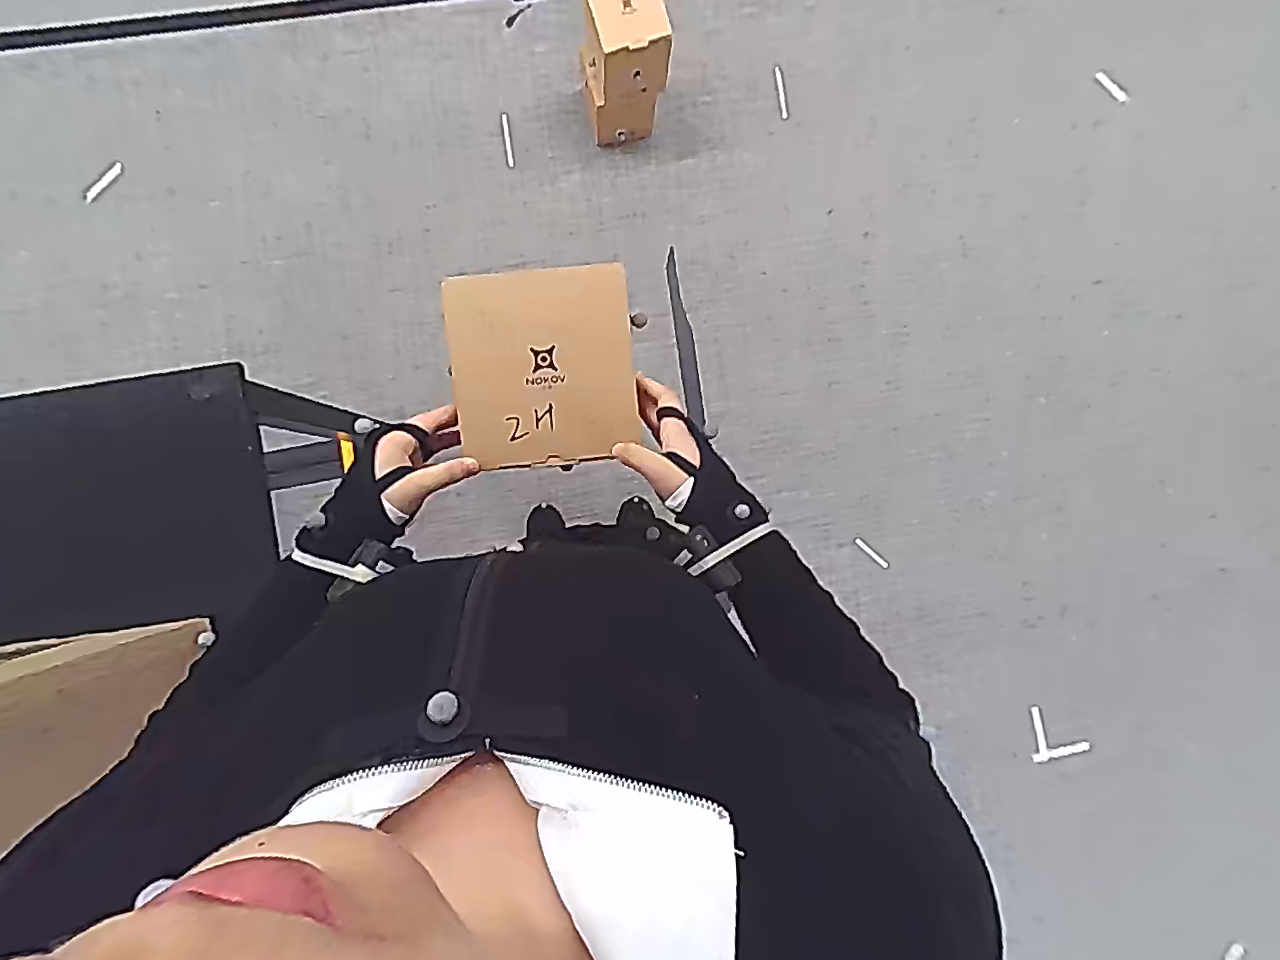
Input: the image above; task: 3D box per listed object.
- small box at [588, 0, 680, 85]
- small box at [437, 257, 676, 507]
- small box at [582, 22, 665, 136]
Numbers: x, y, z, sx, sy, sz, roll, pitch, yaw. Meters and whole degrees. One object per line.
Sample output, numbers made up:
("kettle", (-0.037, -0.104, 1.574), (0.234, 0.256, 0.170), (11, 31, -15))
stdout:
("small box", (-0.017, -1.027, 1.207), (0.168, 0.176, 0.179), (-17, 90, -3))
("small box", (-0.063, -0.080, 0.485), (0.168, 0.176, 0.179), (-6, 97, -1))
("small box", (-0.045, -1.022, 1.369), (0.168, 0.176, 0.179), (-16, 91, -3))
